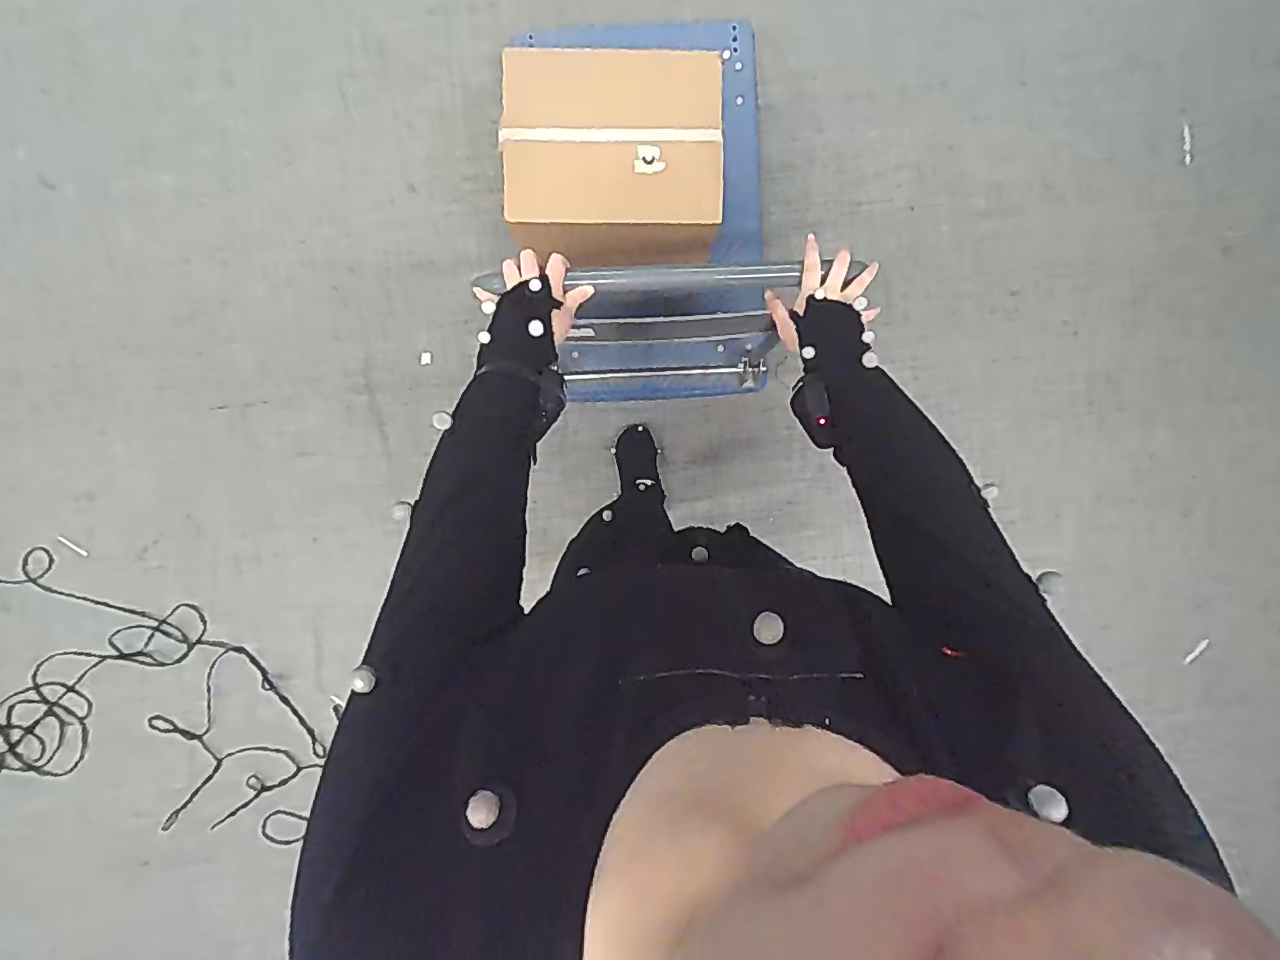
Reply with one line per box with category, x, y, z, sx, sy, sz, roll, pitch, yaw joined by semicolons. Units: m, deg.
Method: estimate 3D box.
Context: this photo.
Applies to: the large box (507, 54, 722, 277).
large box;-0.053;-0.645;1.161;0.408;0.320;0.320;0;92;-2
